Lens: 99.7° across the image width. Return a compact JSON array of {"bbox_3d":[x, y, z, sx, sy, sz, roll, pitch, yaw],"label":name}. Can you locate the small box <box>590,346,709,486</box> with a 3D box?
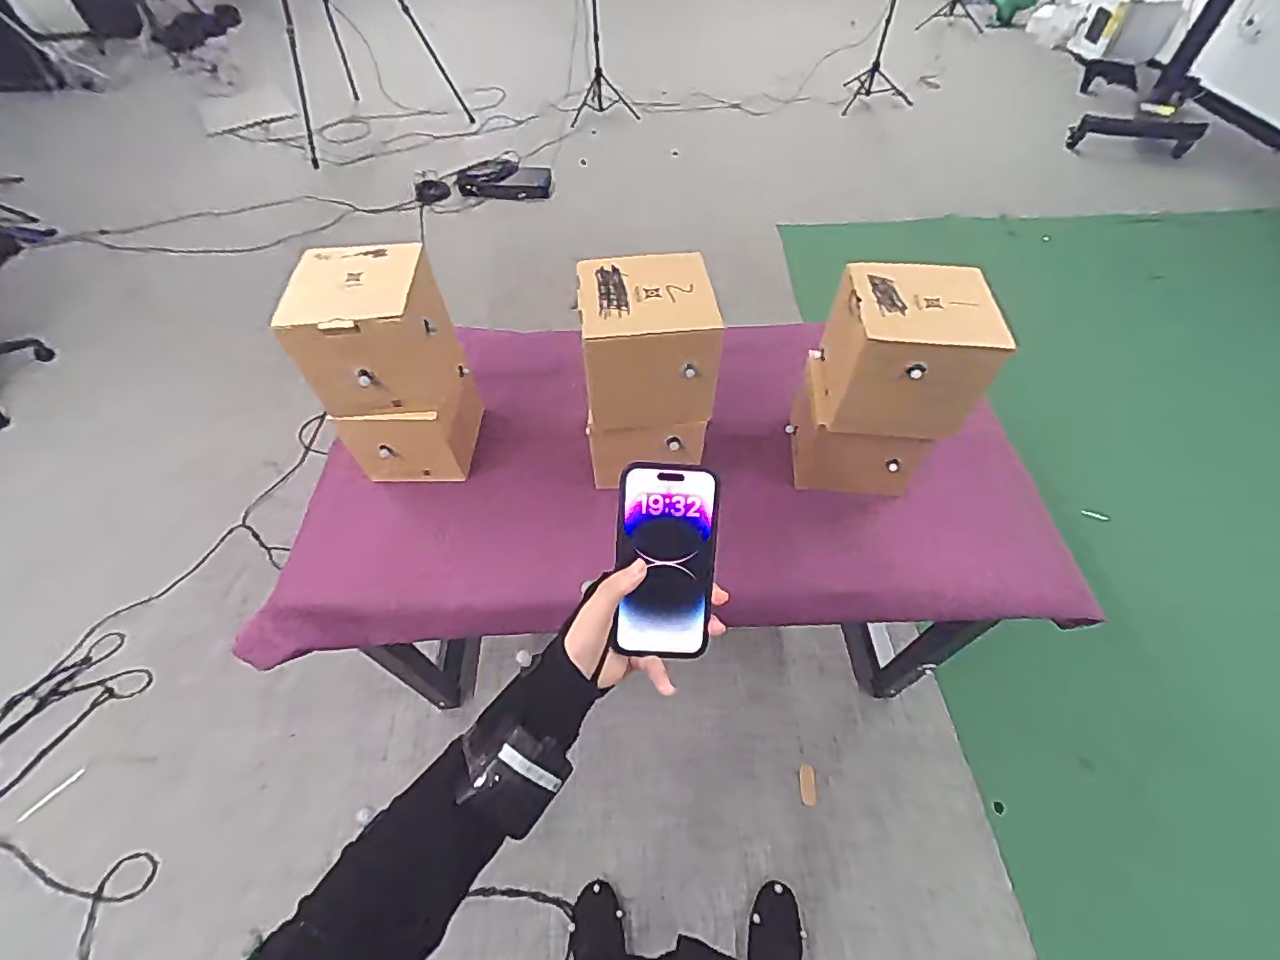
[{"bbox_3d":[0.015,-0.101,0.894,0.179,0.176,0.168,-1,54,1],"label":"small box"}]

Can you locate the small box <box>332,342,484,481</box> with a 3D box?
[{"bbox_3d":[-0.375,-0.110,0.913,0.168,0.176,0.179,-1,54,1],"label":"small box"}]

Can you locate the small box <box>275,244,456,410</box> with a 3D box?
[{"bbox_3d":[-0.379,-0.214,0.786,0.168,0.176,0.179,-4,54,-2],"label":"small box"}]

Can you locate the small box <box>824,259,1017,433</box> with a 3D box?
[{"bbox_3d":[0.360,-0.180,0.740,0.179,0.176,0.168,4,54,4],"label":"small box"}]

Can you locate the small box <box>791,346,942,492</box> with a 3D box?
[{"bbox_3d":[0.355,-0.095,0.881,0.179,0.176,0.168,4,53,5],"label":"small box"}]
